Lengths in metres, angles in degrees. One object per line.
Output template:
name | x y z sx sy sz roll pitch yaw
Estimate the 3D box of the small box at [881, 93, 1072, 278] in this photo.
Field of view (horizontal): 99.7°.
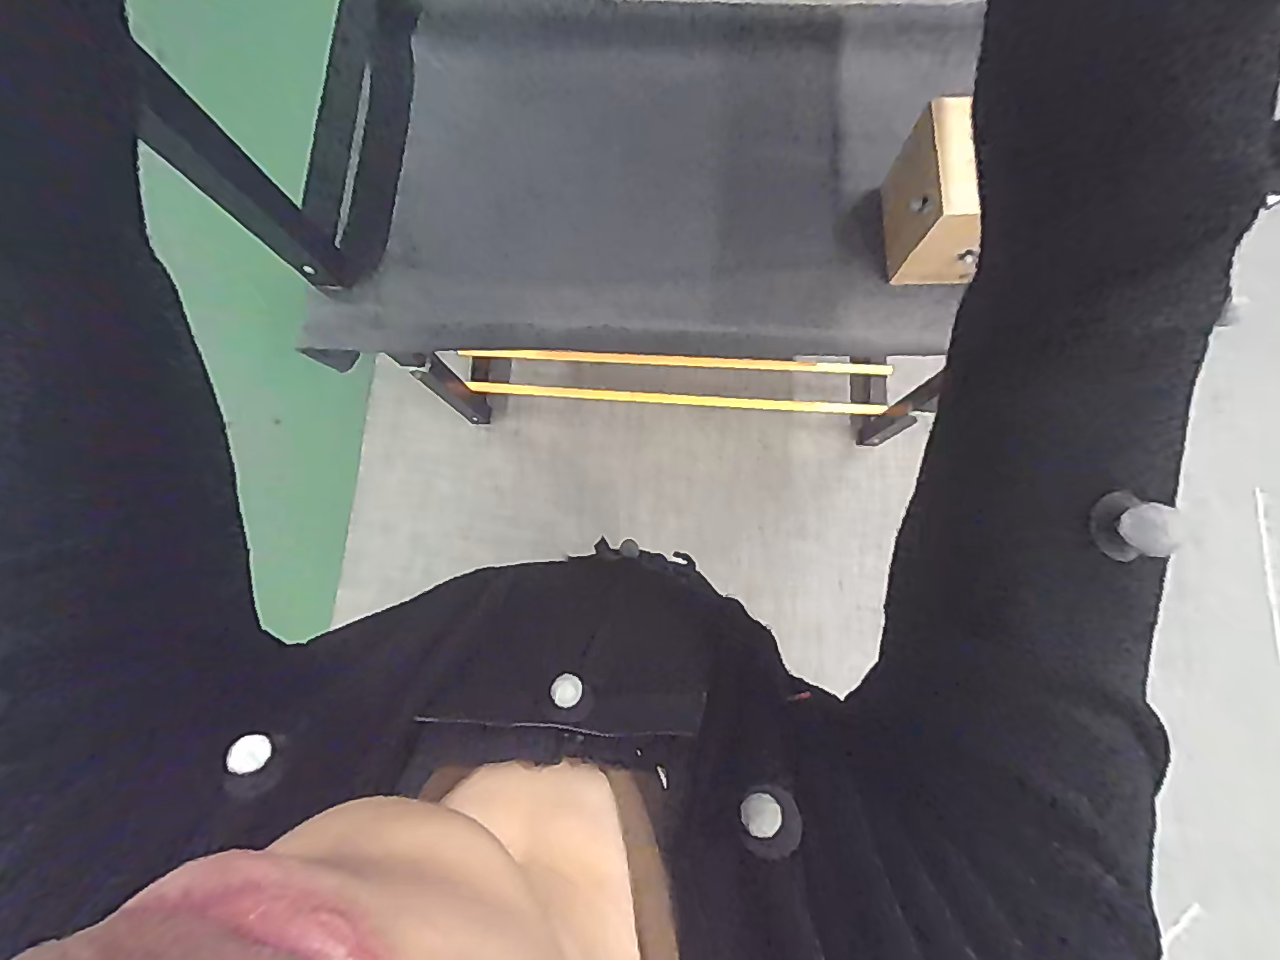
small box | 0.466 -0.408 0.777 0.168 0.176 0.179 0 79 1
